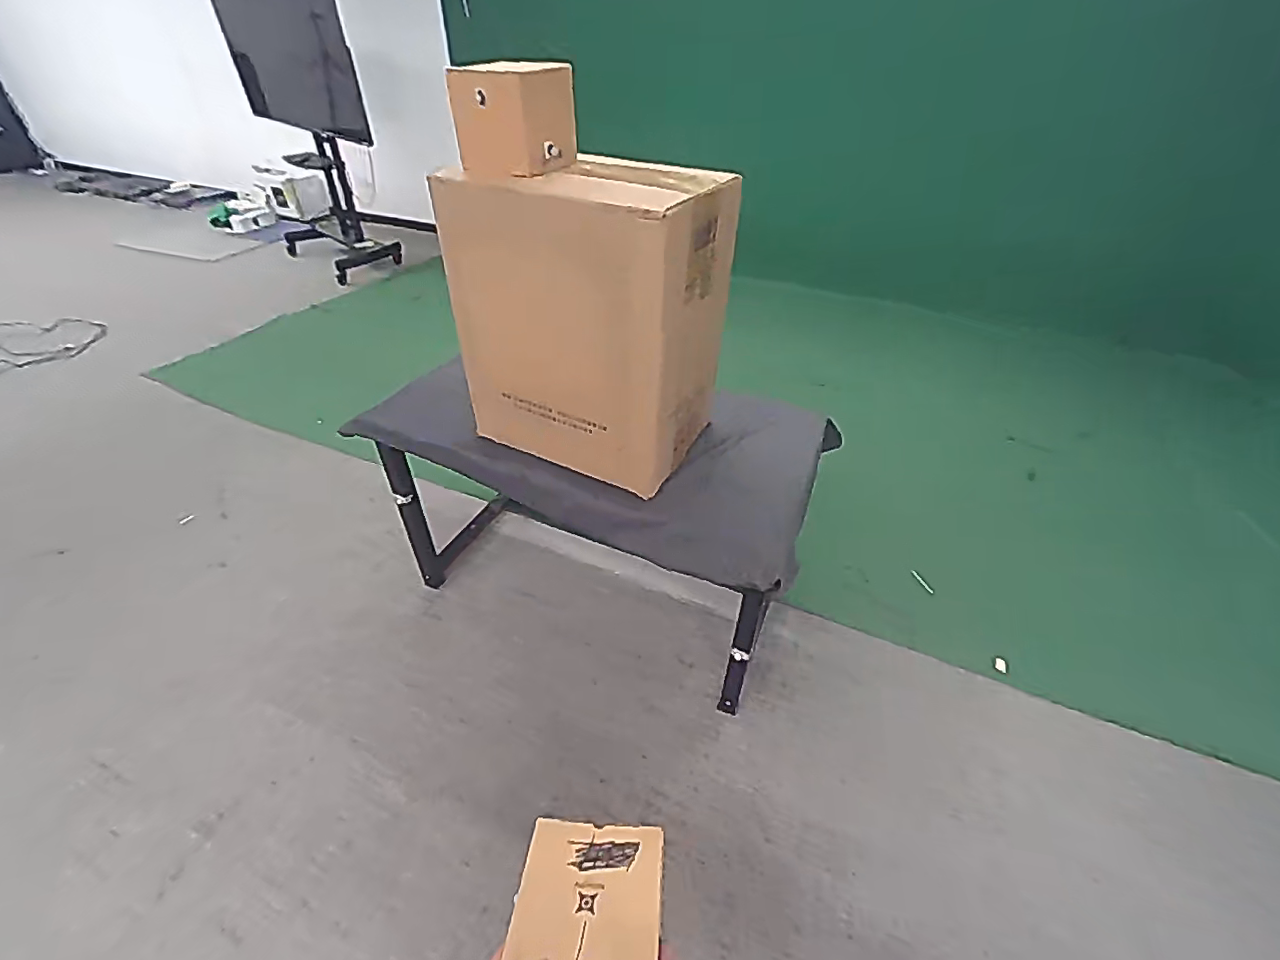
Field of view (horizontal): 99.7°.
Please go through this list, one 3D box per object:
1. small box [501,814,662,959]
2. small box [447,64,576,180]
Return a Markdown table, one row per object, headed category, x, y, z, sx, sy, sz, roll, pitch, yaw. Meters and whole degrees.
| category | x | y | z | sx | sy | sz | roll | pitch | yaw |
| --- | --- | --- | --- | --- | --- | --- | --- | --- | --- |
| small box | -0.060 | 0.550 | 0.658 | 0.168 | 0.176 | 0.179 | 1 | 24 | 4 |
| small box | -0.244 | -0.706 | 1.066 | 0.179 | 0.176 | 0.168 | 21 | 46 | 20 |
